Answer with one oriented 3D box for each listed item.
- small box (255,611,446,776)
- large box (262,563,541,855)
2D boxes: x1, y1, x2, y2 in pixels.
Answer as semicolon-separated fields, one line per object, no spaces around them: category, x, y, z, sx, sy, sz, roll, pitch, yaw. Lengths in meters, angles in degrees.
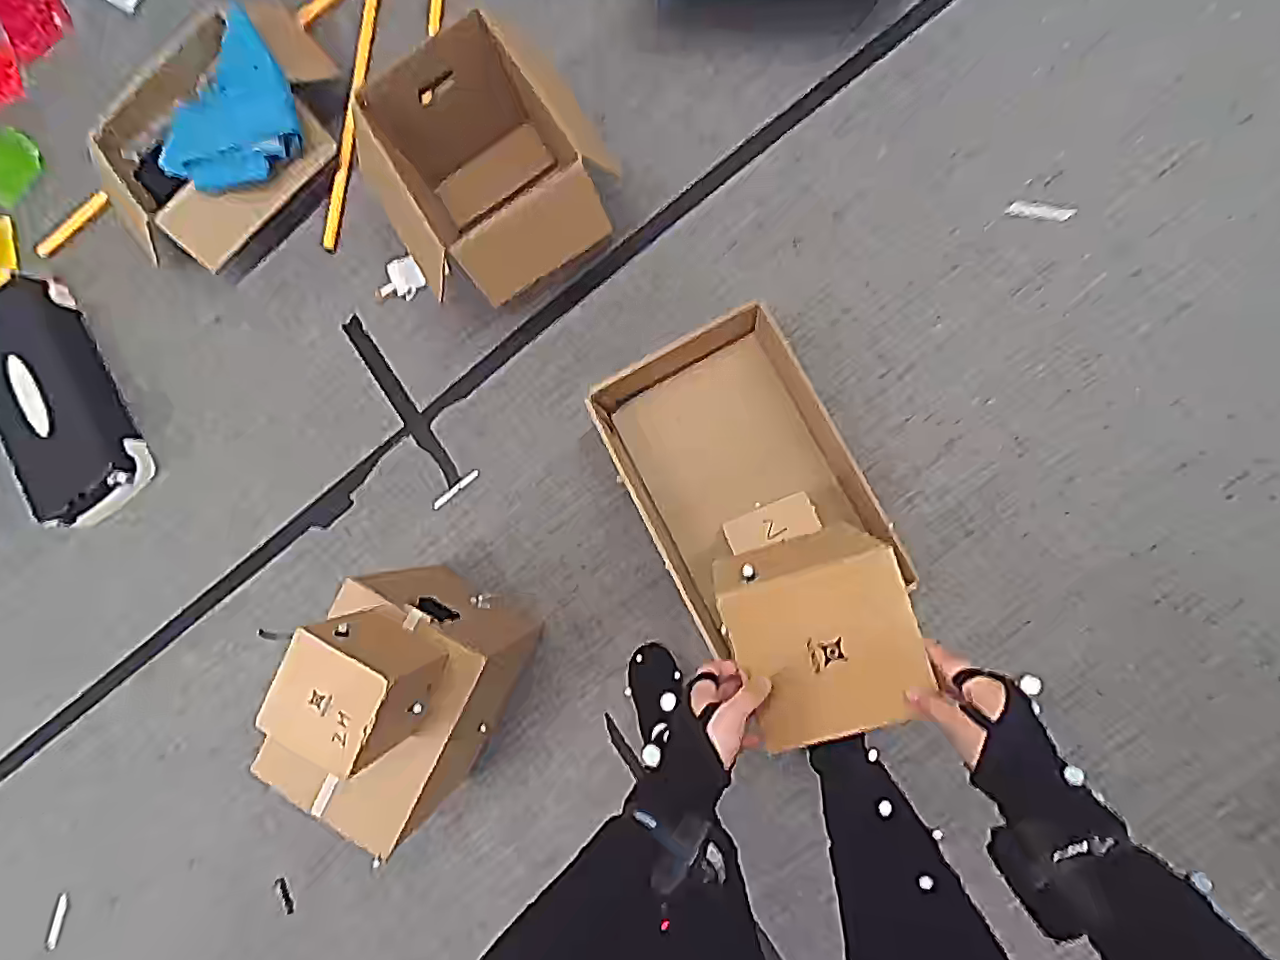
small box;-0.455;0.327;0.873;0.179;0.176;0.168;25;91;9
large box;-0.458;0.426;1.116;0.320;0.320;0.408;26;91;11
